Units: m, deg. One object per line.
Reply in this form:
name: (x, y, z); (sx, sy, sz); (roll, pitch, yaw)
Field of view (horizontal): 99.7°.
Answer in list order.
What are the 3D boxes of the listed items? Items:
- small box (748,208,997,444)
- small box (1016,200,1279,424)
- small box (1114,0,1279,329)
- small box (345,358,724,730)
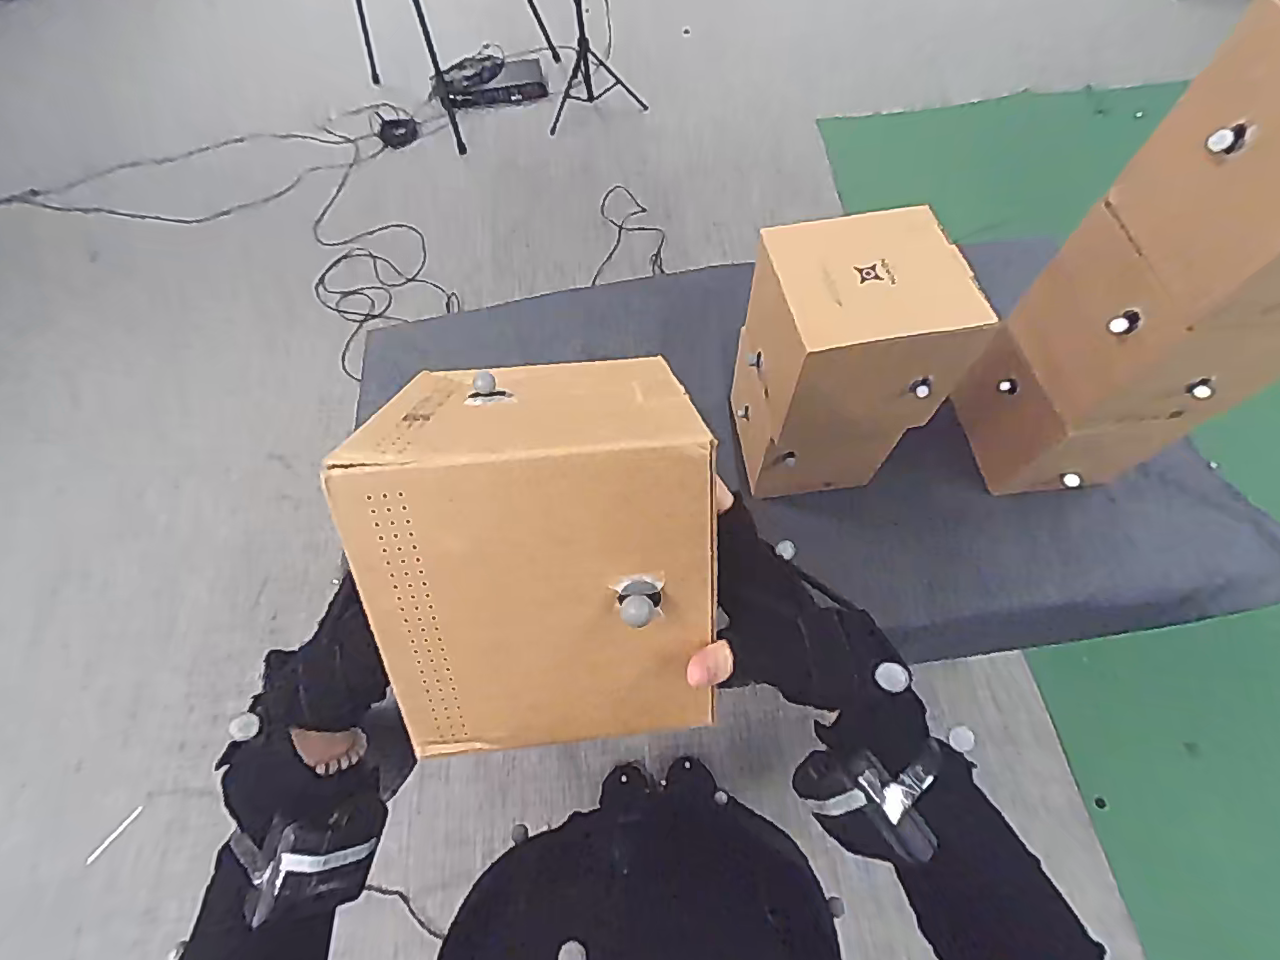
small box: (0.227, -0.157, 0.584); (0.179, 0.176, 0.168); (-9, 62, -1)
small box: (0.547, -0.170, 0.568); (0.168, 0.176, 0.179); (-5, 63, 1)
small box: (0.535, -0.243, 0.421); (0.168, 0.176, 0.179); (-3, 63, 3)
small box: (-0.048, 0.031, 0.338); (0.176, 0.179, 0.168); (-6, 25, -3)
